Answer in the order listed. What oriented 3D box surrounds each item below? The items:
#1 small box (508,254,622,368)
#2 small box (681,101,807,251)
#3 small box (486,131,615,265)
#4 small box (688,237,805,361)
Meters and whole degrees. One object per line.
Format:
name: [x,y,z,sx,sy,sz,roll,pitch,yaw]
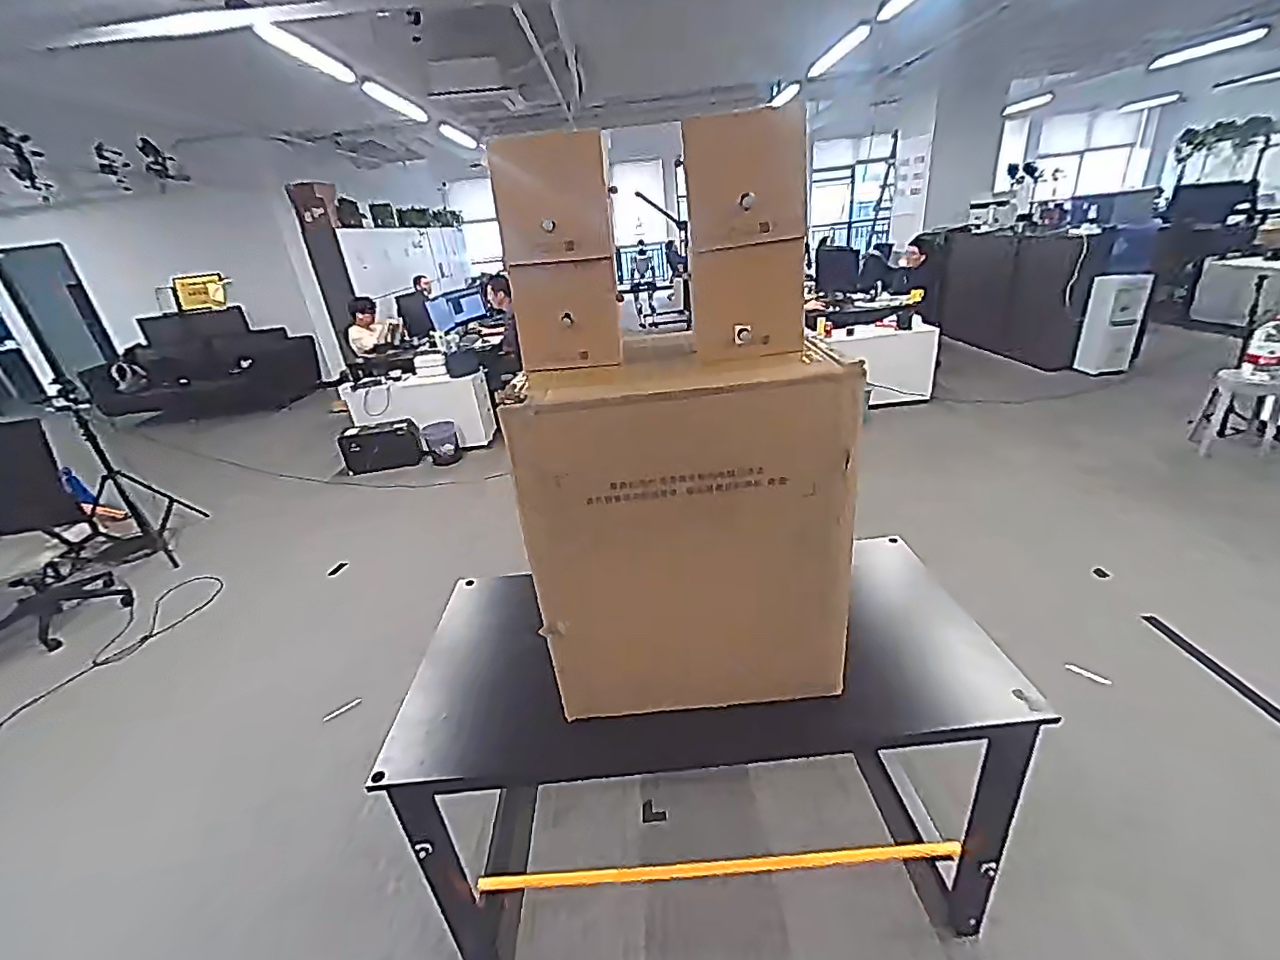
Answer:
small box: [-0.120,-0.296,0.943,0.168,0.176,0.179,-4,26,0]
small box: [0.151,-0.449,0.821,0.168,0.176,0.179,-6,26,6]
small box: [-0.130,-0.438,0.858,0.168,0.176,0.179,-4,26,1]
small box: [0.171,-0.304,0.898,0.168,0.176,0.179,-7,26,5]
